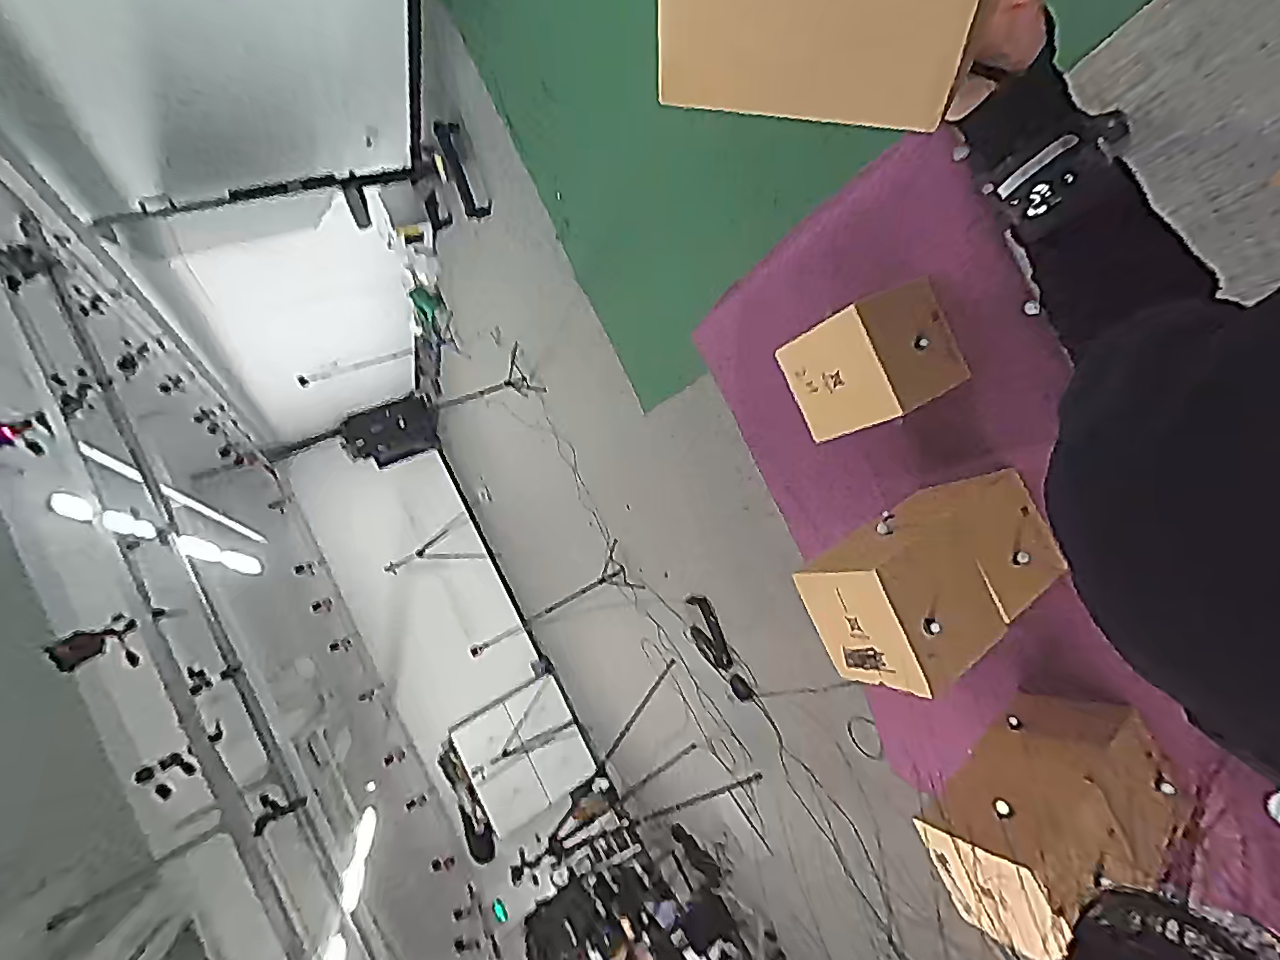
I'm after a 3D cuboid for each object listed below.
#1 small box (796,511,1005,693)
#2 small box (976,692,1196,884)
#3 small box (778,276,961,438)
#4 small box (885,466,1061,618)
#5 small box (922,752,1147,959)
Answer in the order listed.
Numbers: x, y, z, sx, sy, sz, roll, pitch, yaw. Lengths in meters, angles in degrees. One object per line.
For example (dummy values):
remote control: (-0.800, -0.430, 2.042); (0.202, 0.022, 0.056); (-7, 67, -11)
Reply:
small box: (0.363, 0.163, 0.757); (0.179, 0.176, 0.168); (65, 156, 0)
small box: (0.668, 0.445, 0.818); (0.168, 0.176, 0.179); (63, 154, 3)
small box: (0.354, -0.186, 0.830); (0.168, 0.176, 0.179); (64, 156, -1)
small box: (0.496, 0.096, 0.828); (0.168, 0.176, 0.179); (62, 156, 3)
small box: (0.539, 0.506, 0.739); (0.168, 0.176, 0.179); (63, 154, 1)
